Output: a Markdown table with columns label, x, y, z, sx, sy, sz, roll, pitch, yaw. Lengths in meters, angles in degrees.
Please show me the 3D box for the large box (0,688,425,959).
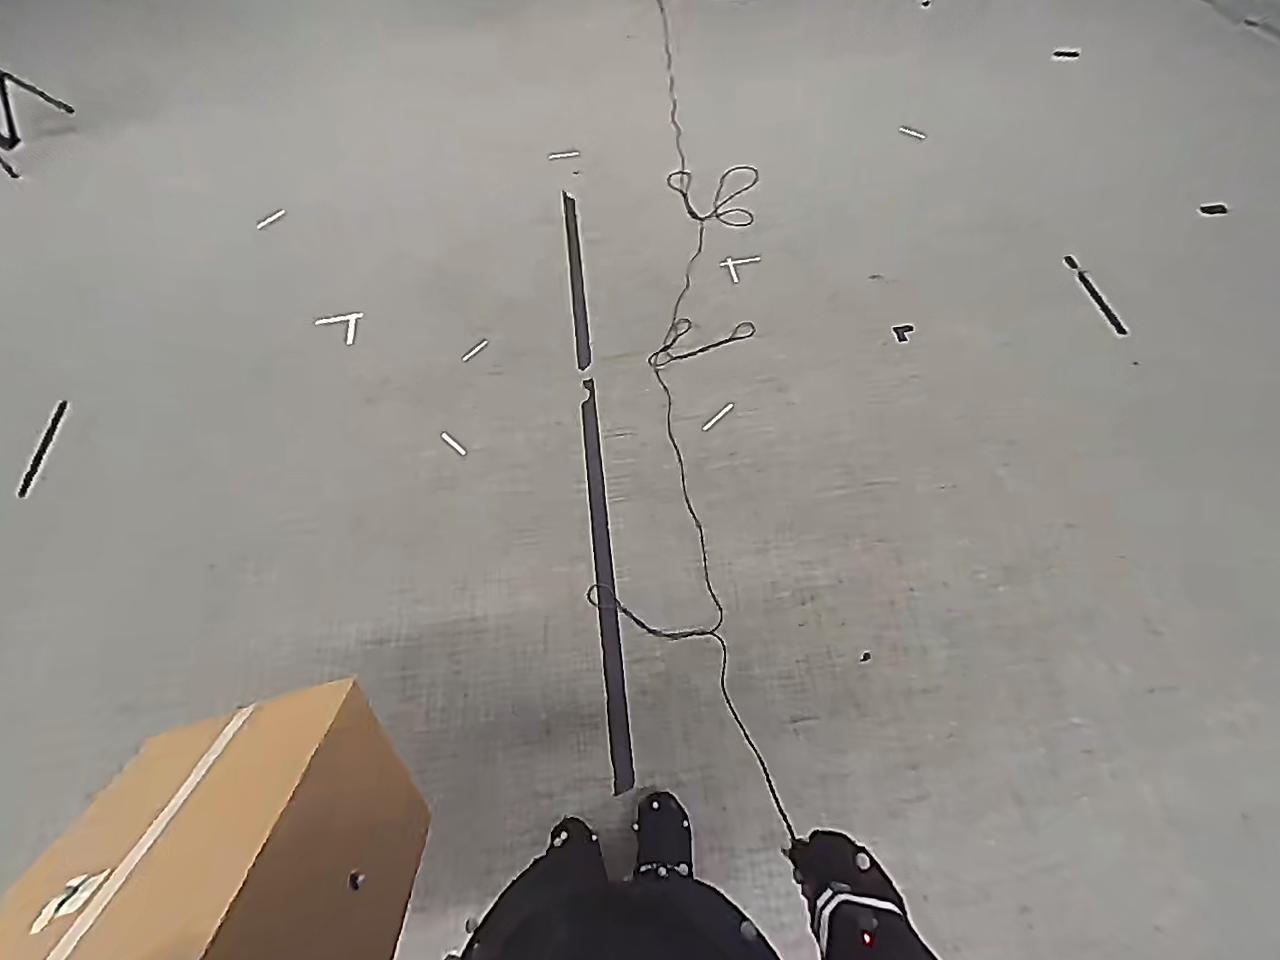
| label | x | y | z | sx | sy | sz | roll | pitch | yaw |
| --- | --- | --- | --- | --- | --- | --- | --- | --- | --- |
| large box | -0.525 | 0.557 | 0.702 | 0.320 | 0.320 | 0.408 | -16 | 20 | -1 |
